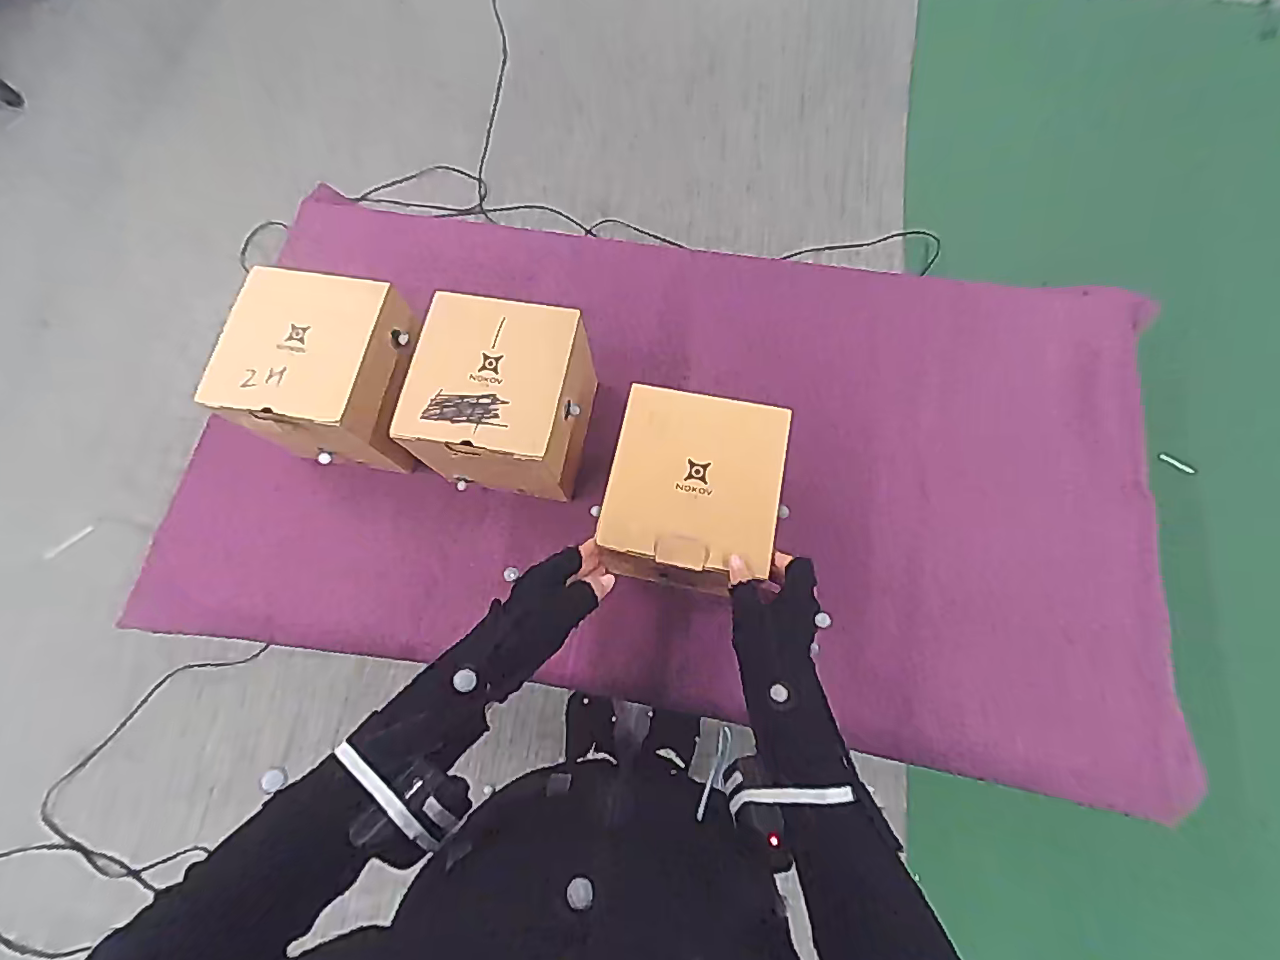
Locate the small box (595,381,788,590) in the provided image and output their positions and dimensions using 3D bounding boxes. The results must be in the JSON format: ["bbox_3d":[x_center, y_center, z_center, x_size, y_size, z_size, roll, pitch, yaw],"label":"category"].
[{"bbox_3d":[0.056,0.015,0.606,0.168,0.176,0.179,11,74,6],"label":"small box"}]

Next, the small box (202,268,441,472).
[{"bbox_3d":[-0.367,-0.126,0.665,0.168,0.176,0.179,9,74,6],"label":"small box"}]
